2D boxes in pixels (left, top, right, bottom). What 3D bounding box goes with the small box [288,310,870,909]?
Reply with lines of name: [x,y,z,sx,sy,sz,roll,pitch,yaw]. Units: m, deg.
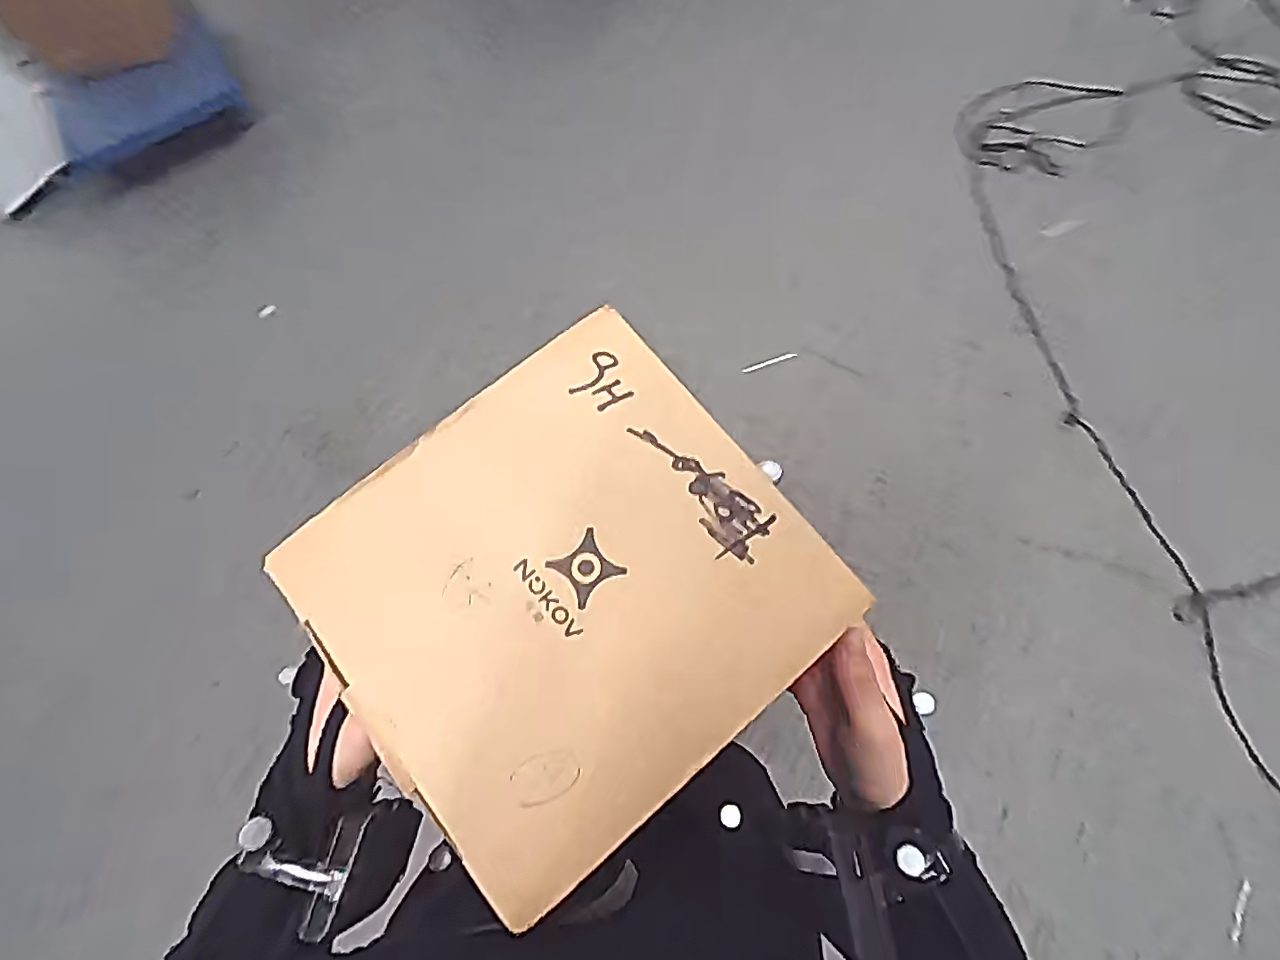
small box: [-0.024,0.055,0.289,0.179,0.176,0.168,-37,80,-7]
